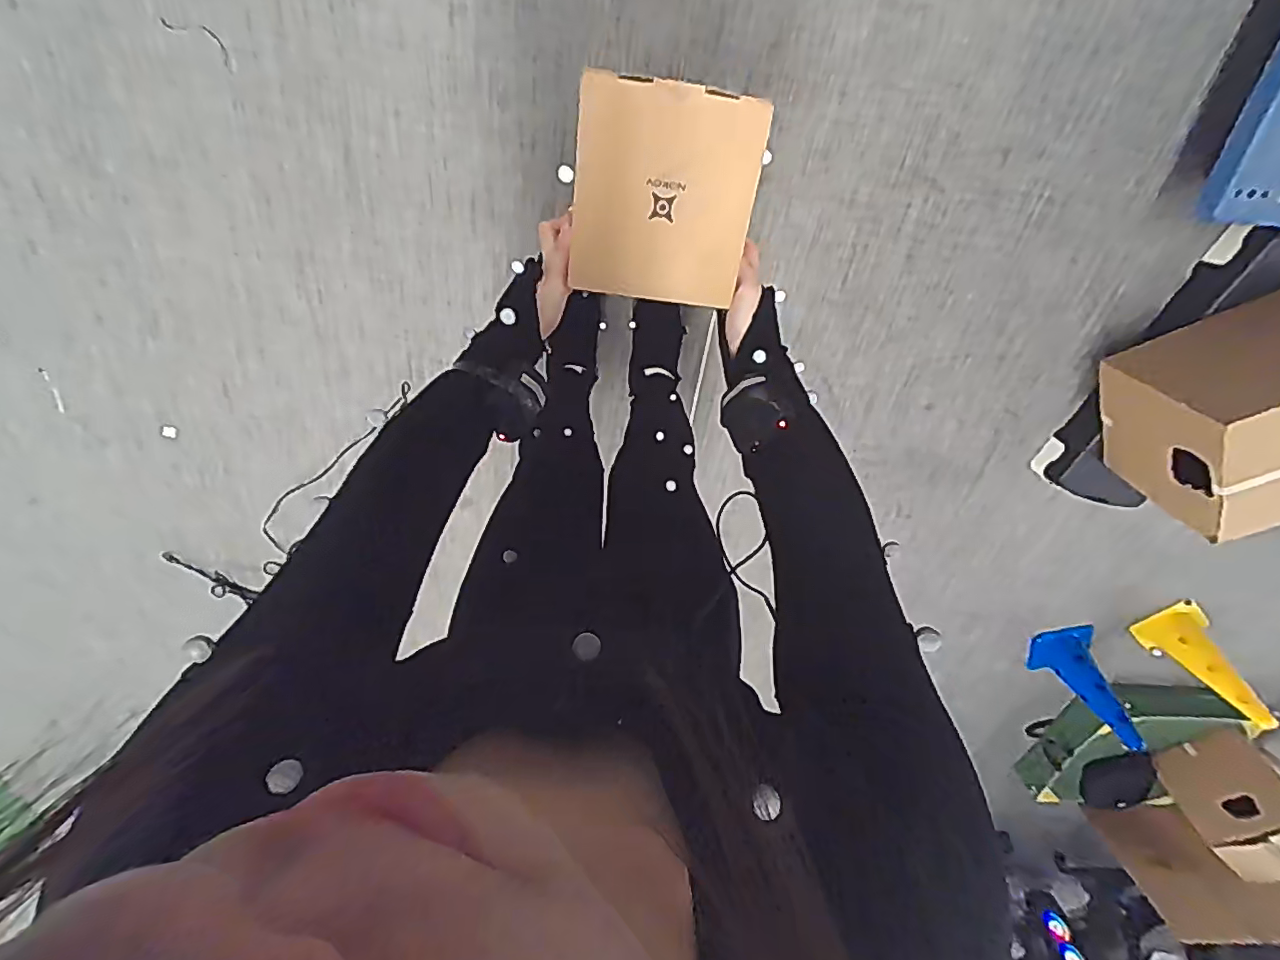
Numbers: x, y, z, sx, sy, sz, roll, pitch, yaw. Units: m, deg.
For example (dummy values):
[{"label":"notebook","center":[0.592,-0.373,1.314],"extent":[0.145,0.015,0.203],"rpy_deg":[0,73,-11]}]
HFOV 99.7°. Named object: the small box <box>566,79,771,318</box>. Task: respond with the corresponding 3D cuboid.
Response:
[{"label":"small box","center":[0.018,-0.285,0.560],"extent":[0.168,0.176,0.179],"rpy_deg":[5,119,-6]}]
